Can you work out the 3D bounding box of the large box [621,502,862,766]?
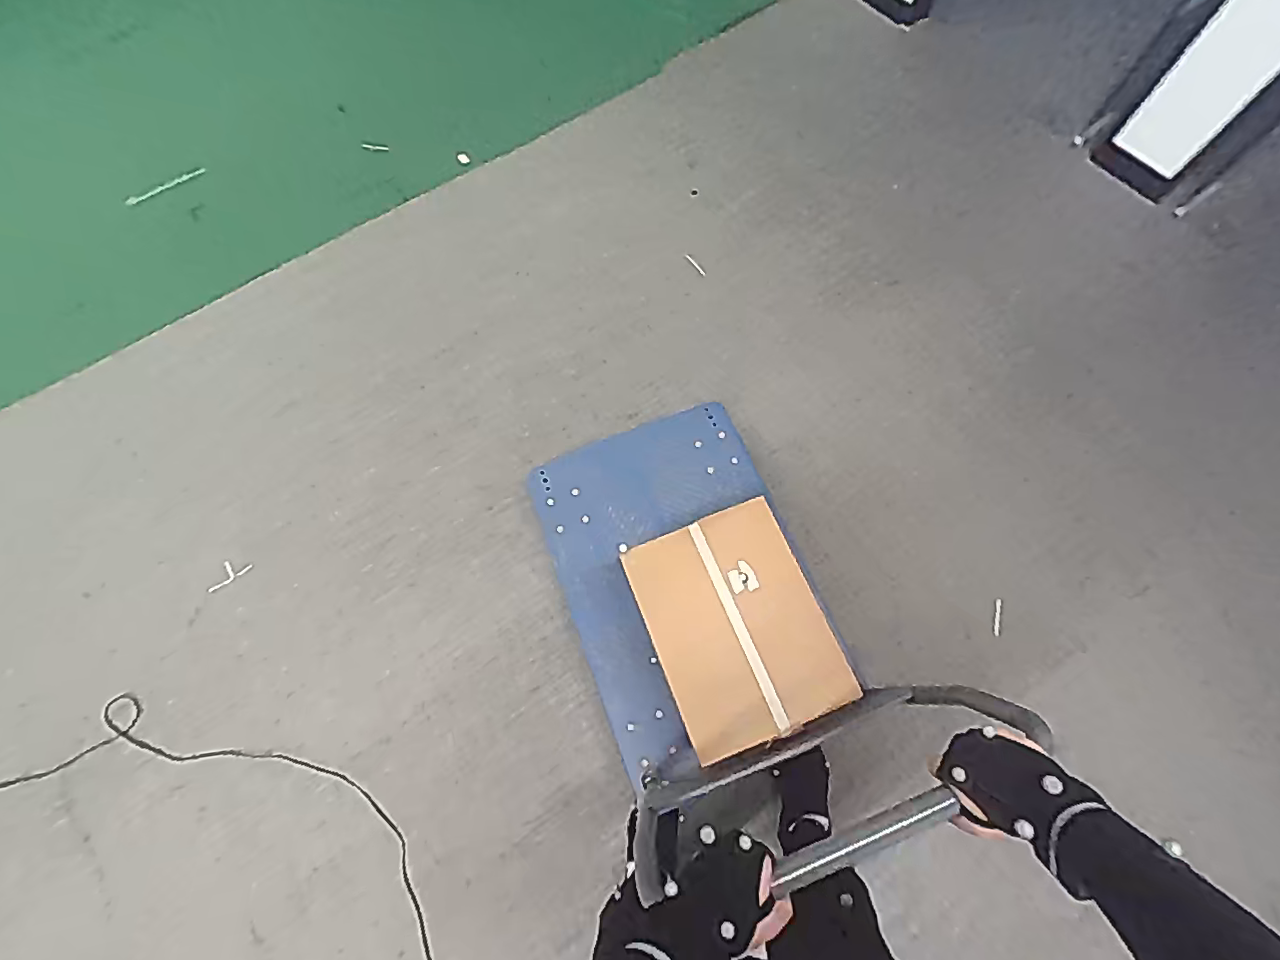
[{"bbox_3d":[0.188,0.321,1.143,0.320,0.320,0.408,-22,69,-5],"label":"large box"}]
